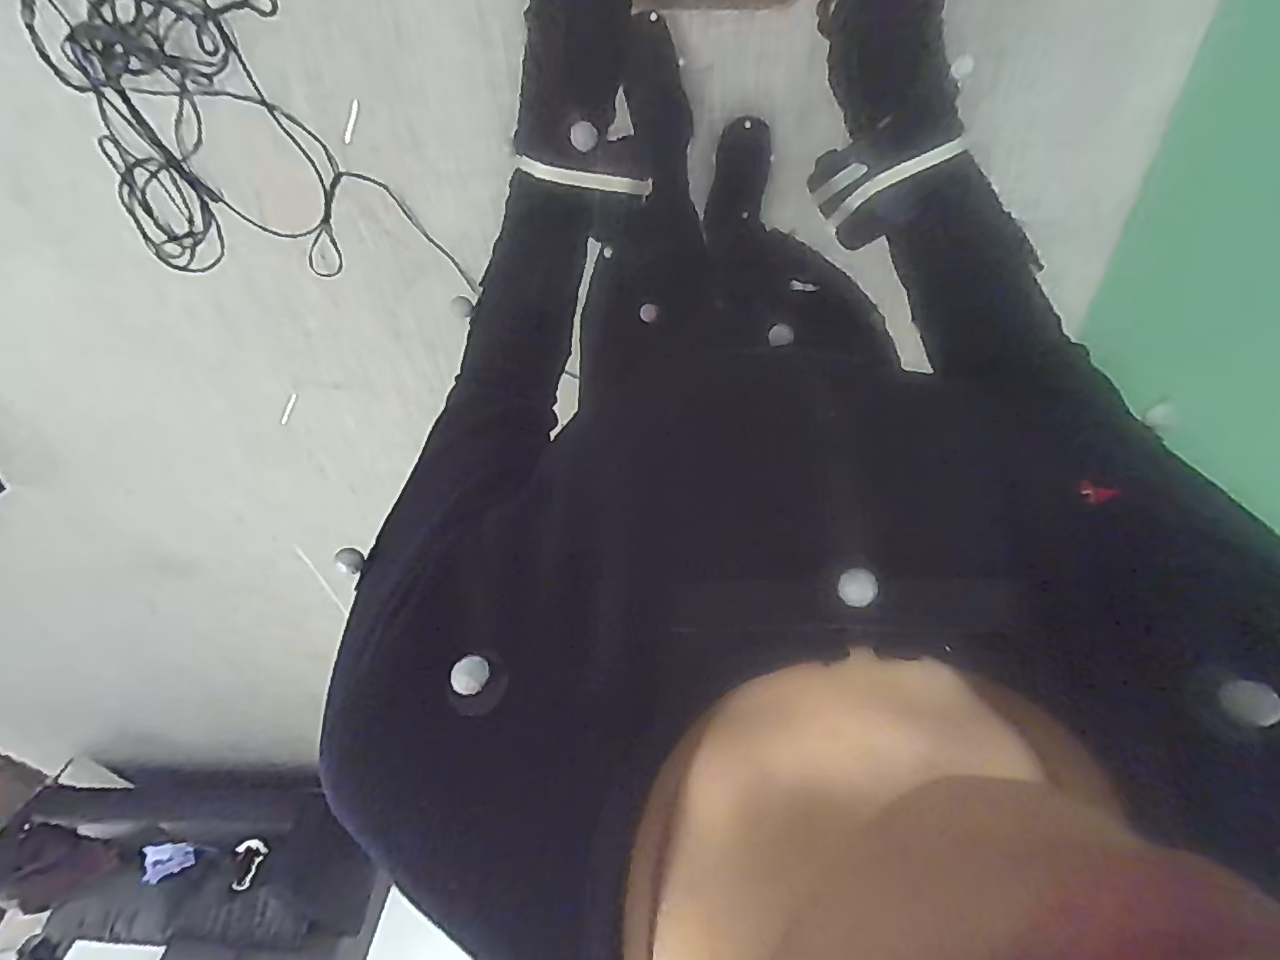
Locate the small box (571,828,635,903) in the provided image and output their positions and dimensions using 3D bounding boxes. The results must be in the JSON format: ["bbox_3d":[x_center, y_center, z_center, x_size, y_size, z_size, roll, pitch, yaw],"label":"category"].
[{"bbox_3d":[-0.116,1.268,1.782,0.168,0.176,0.179,-7,130,12],"label":"small box"}]

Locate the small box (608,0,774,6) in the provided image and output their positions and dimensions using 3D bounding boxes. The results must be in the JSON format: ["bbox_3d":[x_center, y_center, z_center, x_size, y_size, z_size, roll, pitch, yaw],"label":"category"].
[{"bbox_3d":[0.048,-0.429,0.325,0.168,0.176,0.179,-6,115,-5],"label":"small box"}]
